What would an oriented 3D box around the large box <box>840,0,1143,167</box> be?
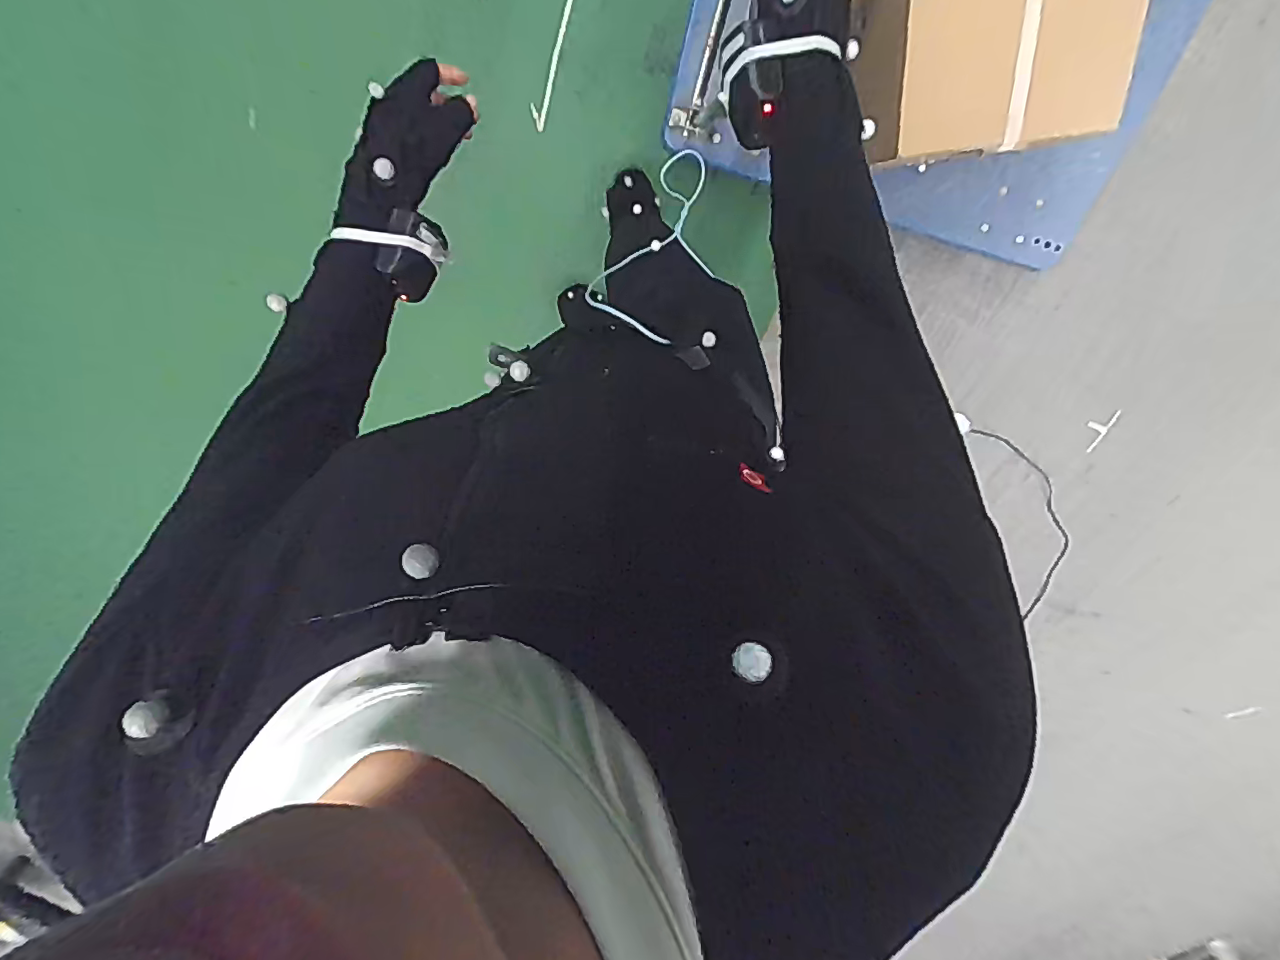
[{"bbox_3d":[0.507,-0.743,0.827,0.320,0.320,0.408,-6,115,4],"label":"large box"}]
